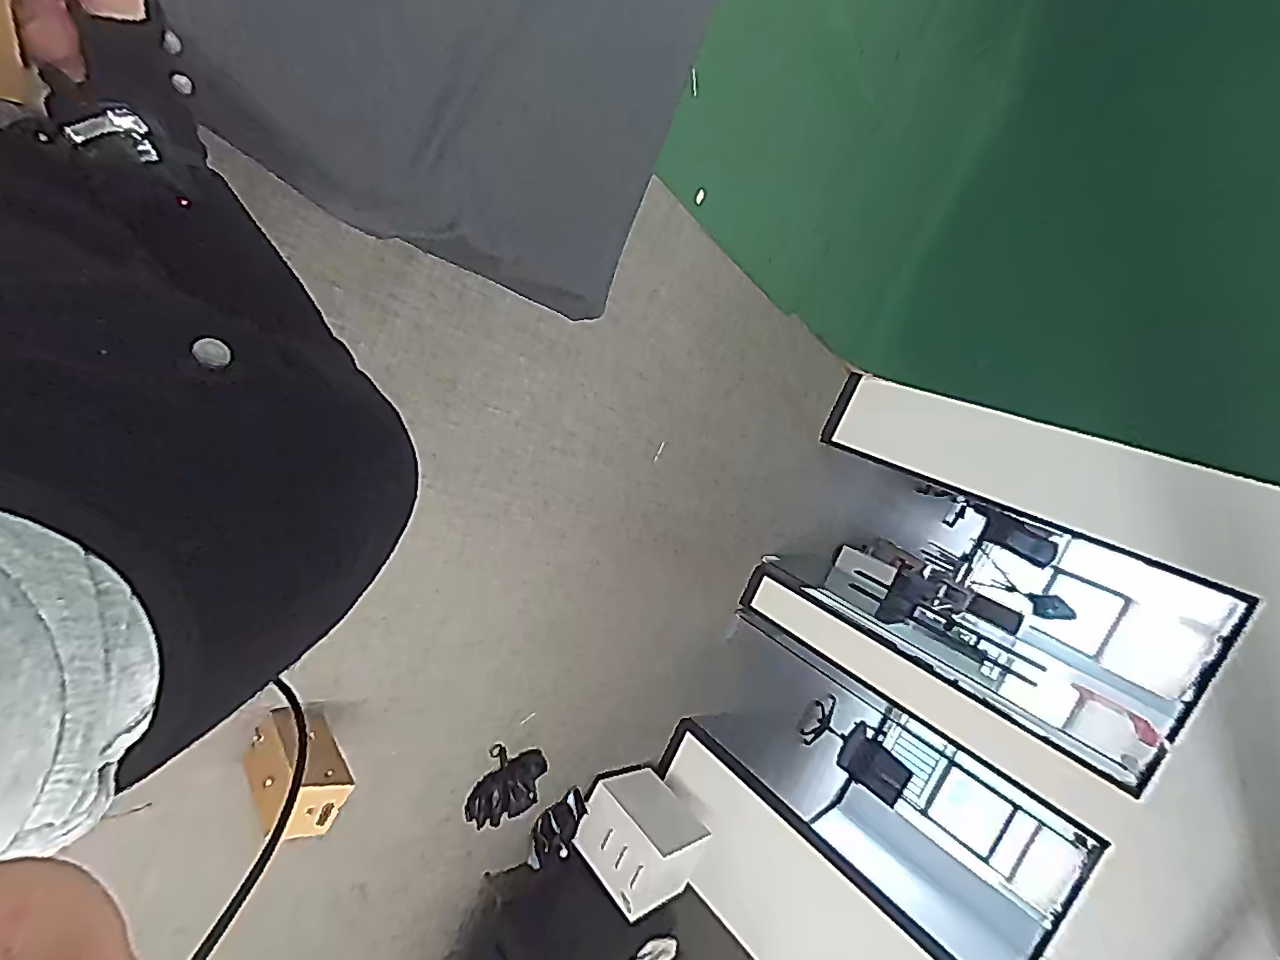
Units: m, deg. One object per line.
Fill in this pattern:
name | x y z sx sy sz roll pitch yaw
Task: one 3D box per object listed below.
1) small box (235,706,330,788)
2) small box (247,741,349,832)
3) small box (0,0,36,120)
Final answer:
small box | -1.122 0.830 1.694 0.179 0.176 0.168 35 84 -50
small box | -1.009 0.893 1.592 0.168 0.176 0.179 -59 141 -5
small box | -0.437 -0.326 0.269 0.168 0.176 0.179 -10 137 -43
